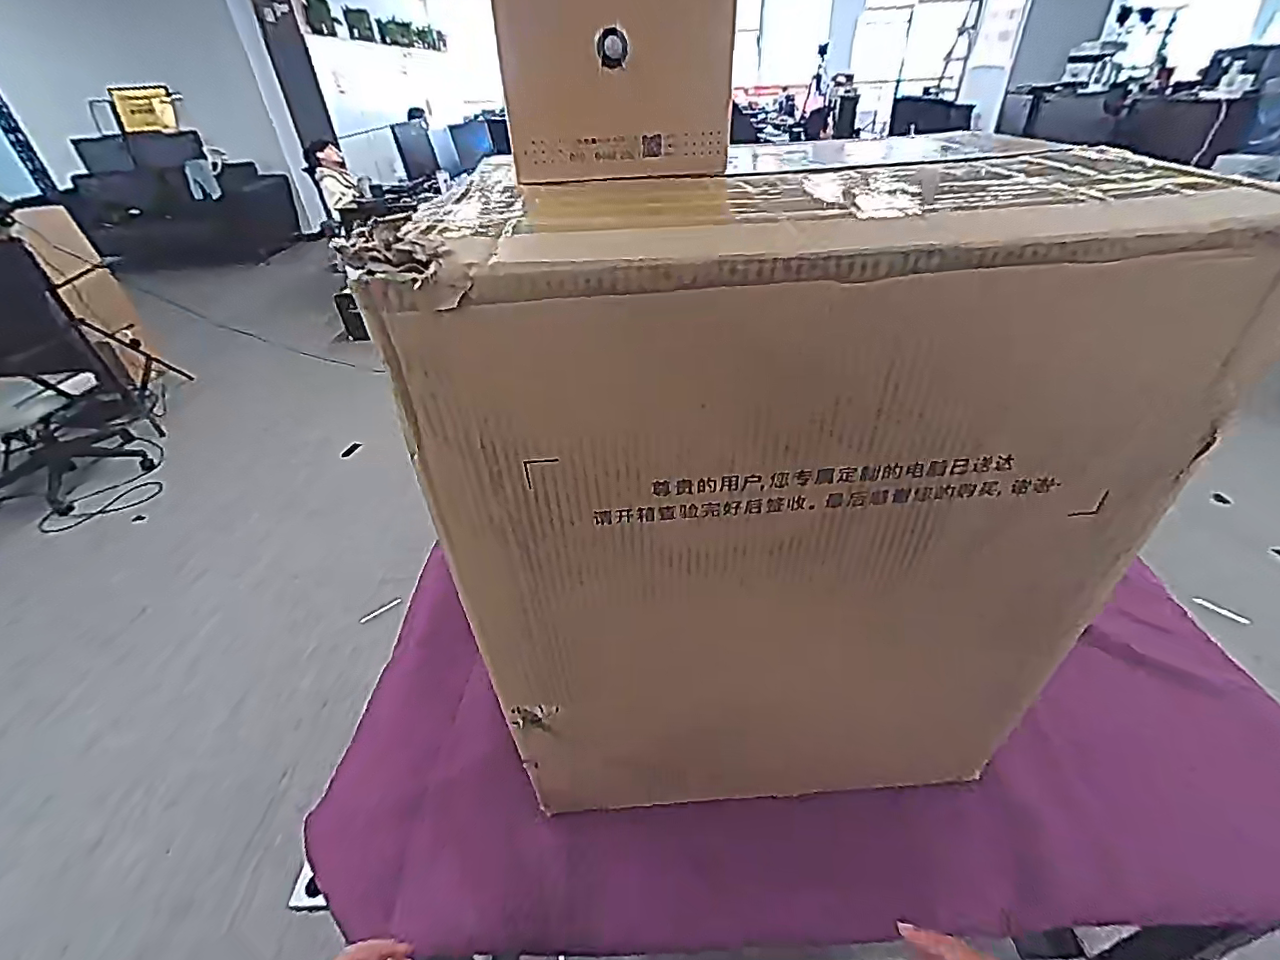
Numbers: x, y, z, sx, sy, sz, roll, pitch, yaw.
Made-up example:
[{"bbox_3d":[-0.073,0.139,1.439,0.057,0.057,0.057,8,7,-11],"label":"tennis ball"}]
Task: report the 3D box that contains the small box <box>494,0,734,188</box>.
[{"bbox_3d":[-0.024,-0.340,0.437,0.168,0.176,0.179,-6,37,-7],"label":"small box"}]
